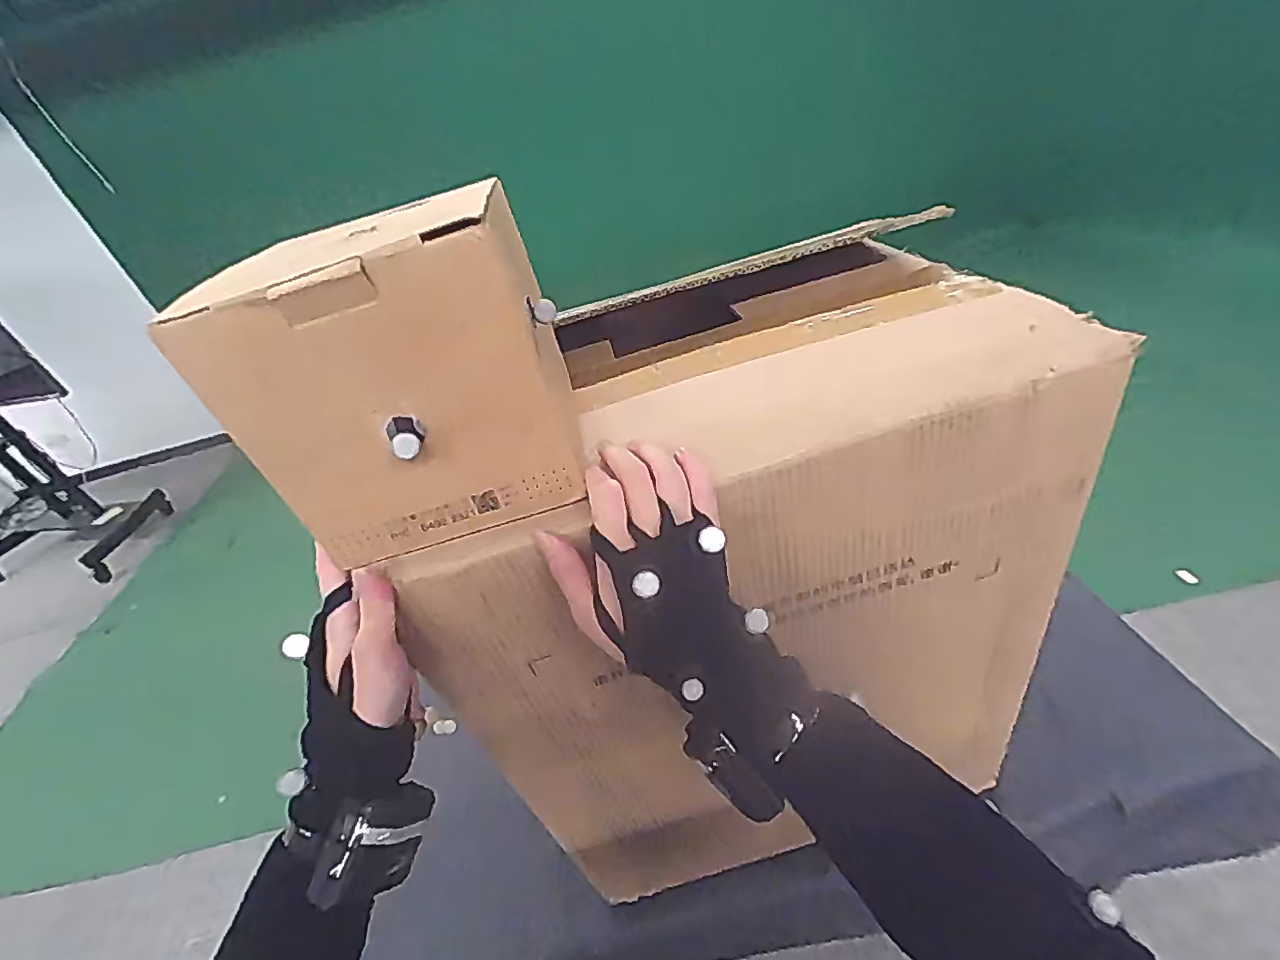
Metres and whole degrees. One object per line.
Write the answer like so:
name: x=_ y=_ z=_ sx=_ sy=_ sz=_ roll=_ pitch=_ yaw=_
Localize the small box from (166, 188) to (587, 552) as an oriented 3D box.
small box: x=-0.141 y=-0.072 z=0.366 sx=0.168 sy=0.176 sz=0.179 roll=-17 pitch=37 yaw=-1
